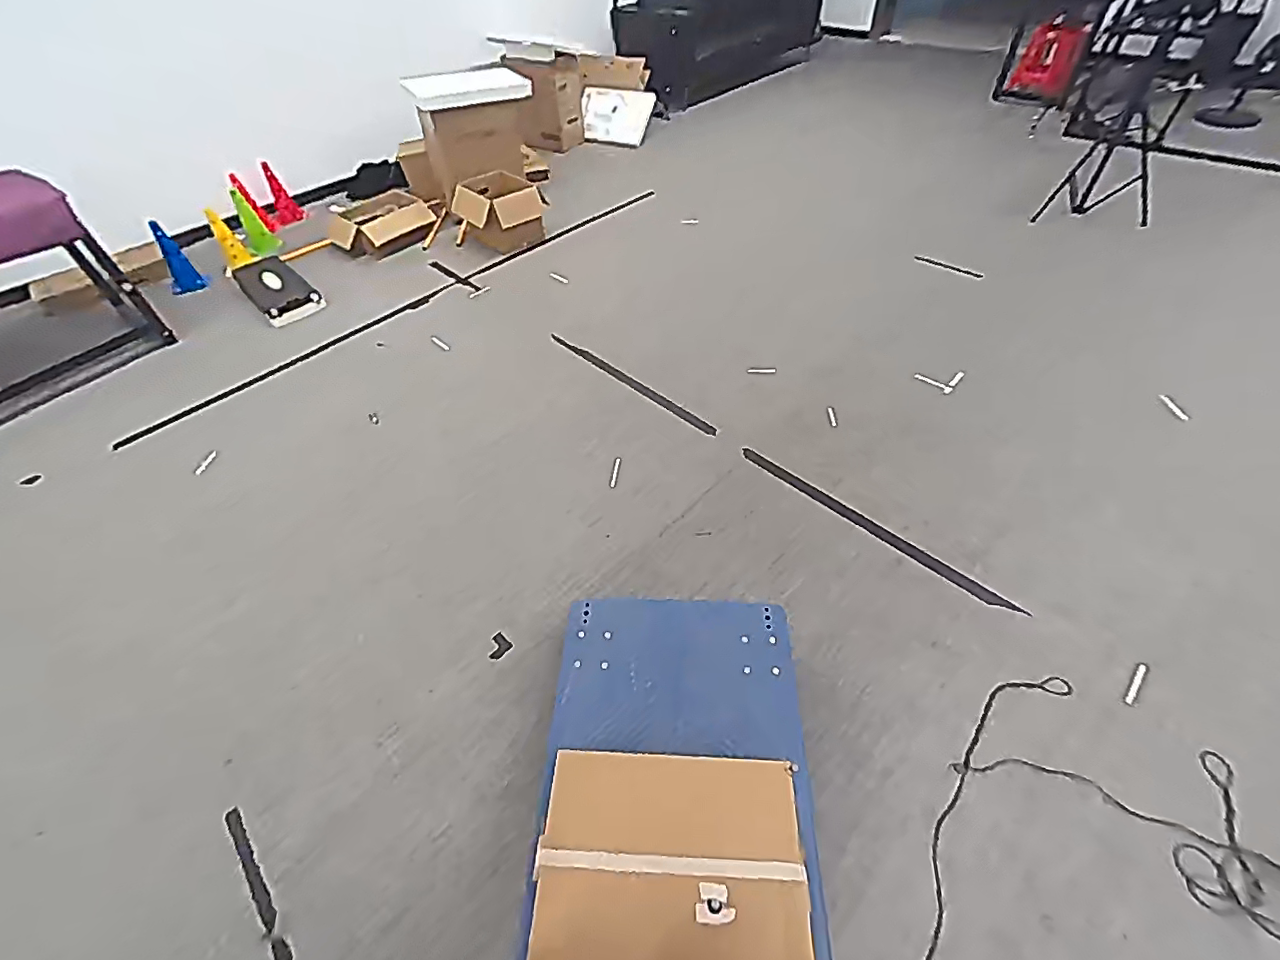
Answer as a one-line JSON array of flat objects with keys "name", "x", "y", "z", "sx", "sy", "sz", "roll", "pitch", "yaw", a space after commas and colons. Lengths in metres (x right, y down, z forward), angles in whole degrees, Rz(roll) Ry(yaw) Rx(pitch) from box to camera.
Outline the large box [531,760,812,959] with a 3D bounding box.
[{"name": "large box", "x": 0.051, "y": 0.702, "z": 0.937, "sx": 0.408, "sy": 0.320, "sz": 0.320, "roll": 1, "pitch": 49, "yaw": 3}]
